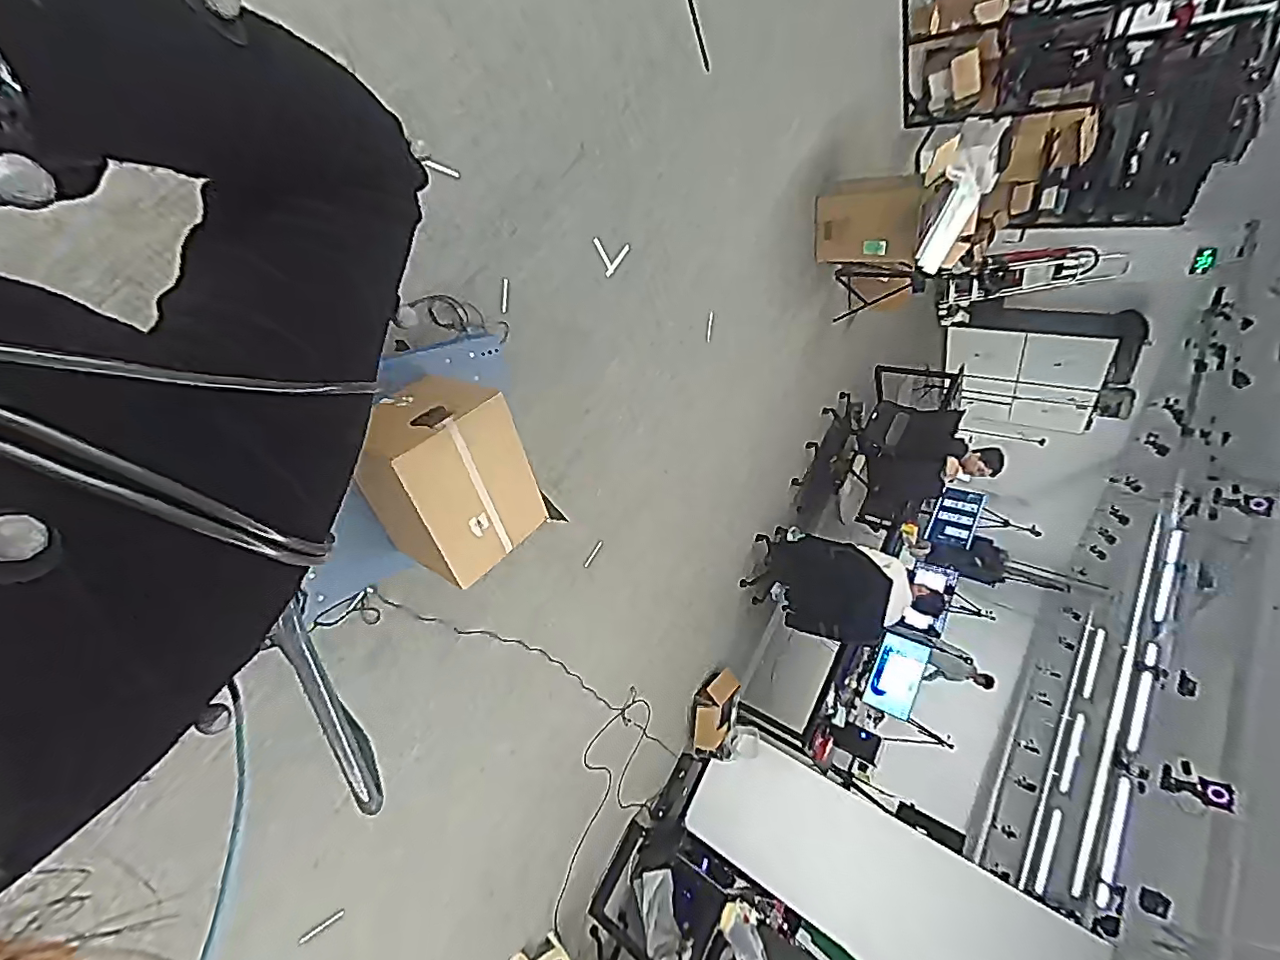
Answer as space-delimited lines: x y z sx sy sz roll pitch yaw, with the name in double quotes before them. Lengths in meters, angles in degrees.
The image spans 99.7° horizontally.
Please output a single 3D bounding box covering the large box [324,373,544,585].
"large box" -0.510 -0.014 1.389 0.320 0.320 0.408 -43 136 -35
